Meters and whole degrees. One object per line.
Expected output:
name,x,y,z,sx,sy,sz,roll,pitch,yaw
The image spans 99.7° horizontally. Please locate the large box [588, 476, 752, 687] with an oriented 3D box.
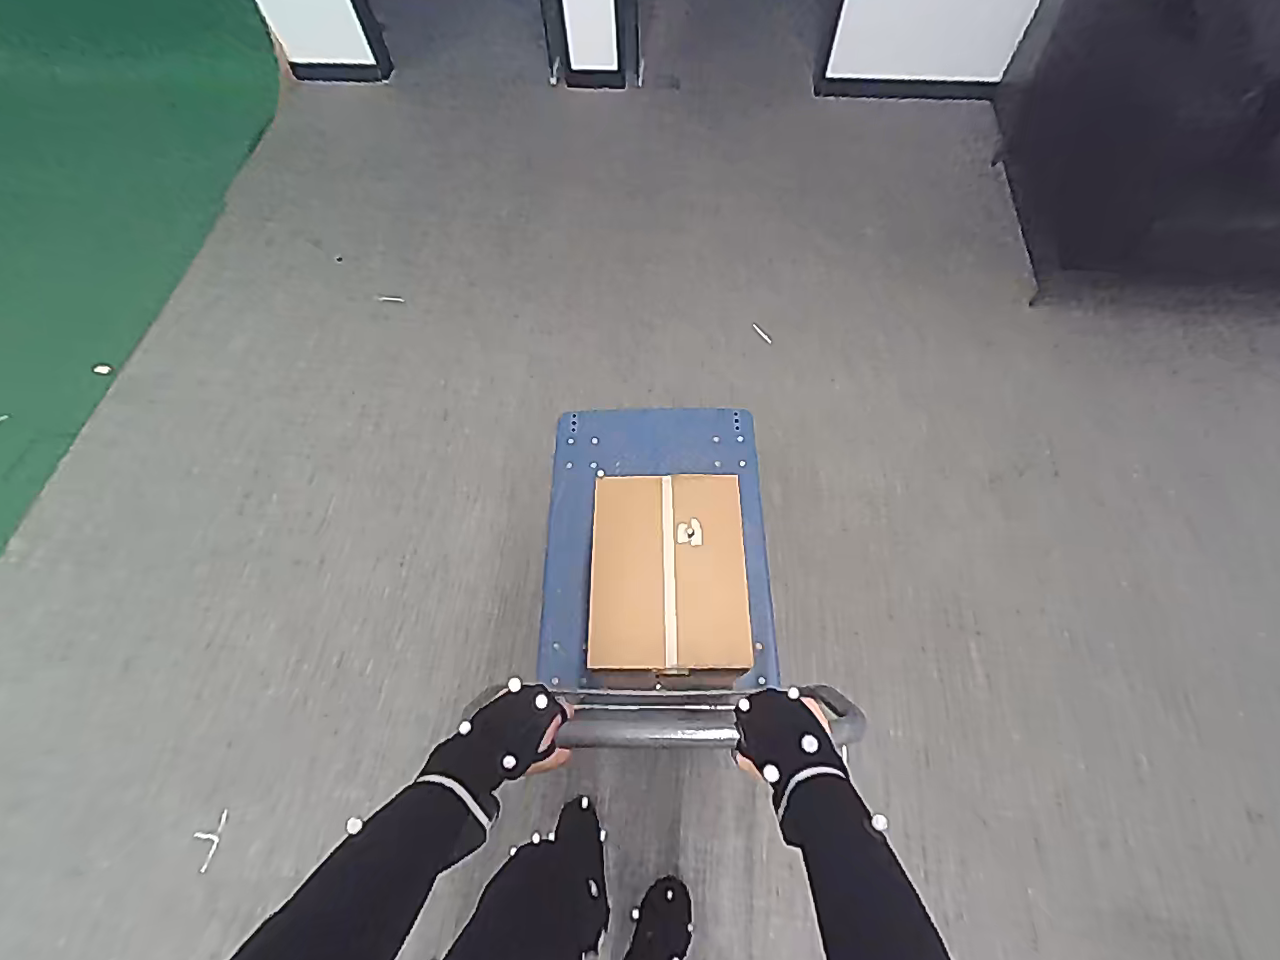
large box,0.059,0.240,1.233,0.320,0.320,0.408,0,63,1
